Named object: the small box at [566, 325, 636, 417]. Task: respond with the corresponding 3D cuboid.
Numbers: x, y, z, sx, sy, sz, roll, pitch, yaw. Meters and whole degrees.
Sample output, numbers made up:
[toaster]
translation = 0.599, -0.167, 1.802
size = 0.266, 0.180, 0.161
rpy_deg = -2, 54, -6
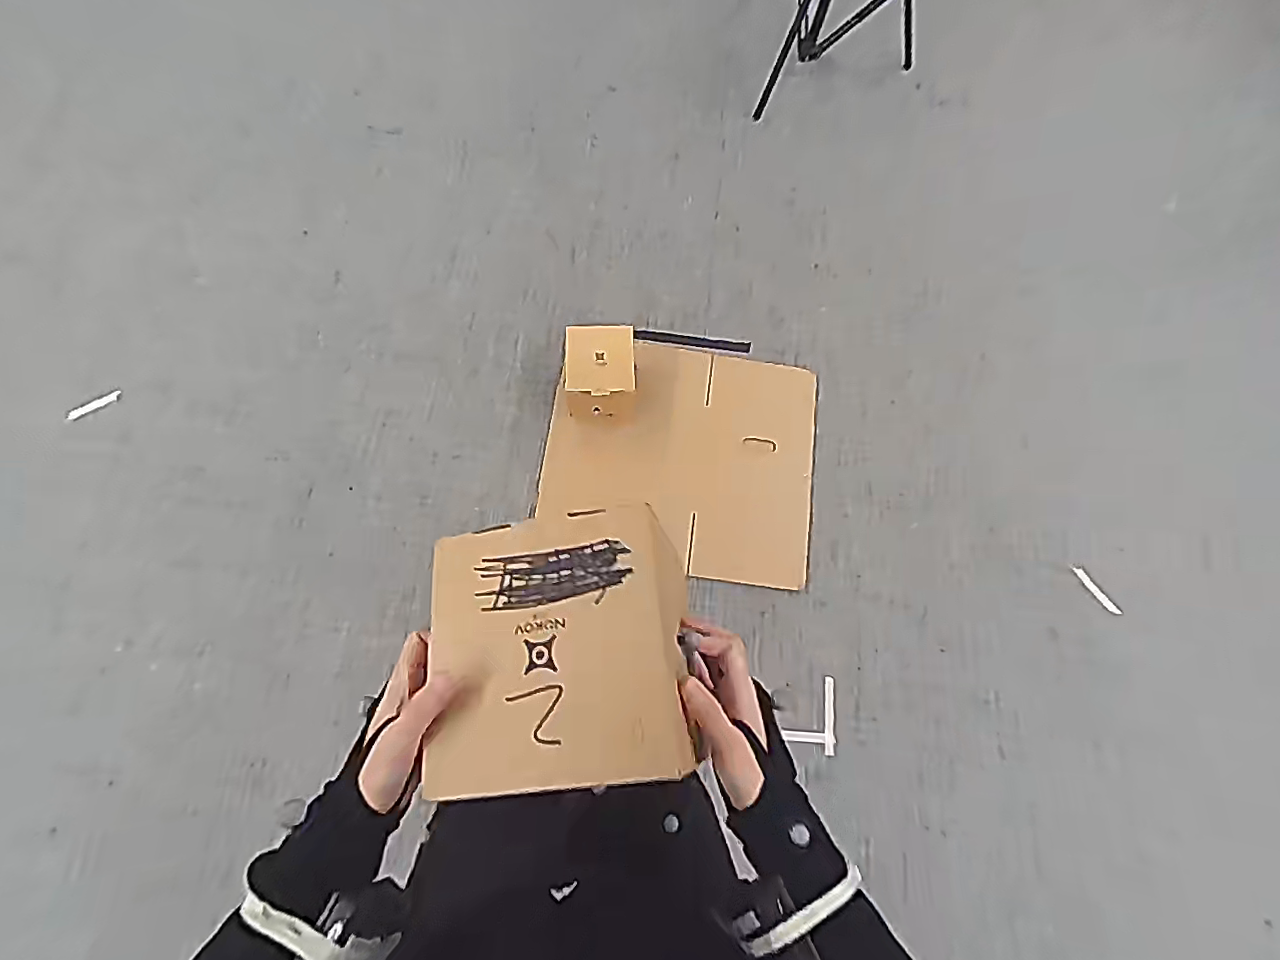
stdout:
[small box]
translation = -0.099, -0.271, 1.366
size = 0.168, 0.176, 0.179
rpy_deg = -2, 76, -3
